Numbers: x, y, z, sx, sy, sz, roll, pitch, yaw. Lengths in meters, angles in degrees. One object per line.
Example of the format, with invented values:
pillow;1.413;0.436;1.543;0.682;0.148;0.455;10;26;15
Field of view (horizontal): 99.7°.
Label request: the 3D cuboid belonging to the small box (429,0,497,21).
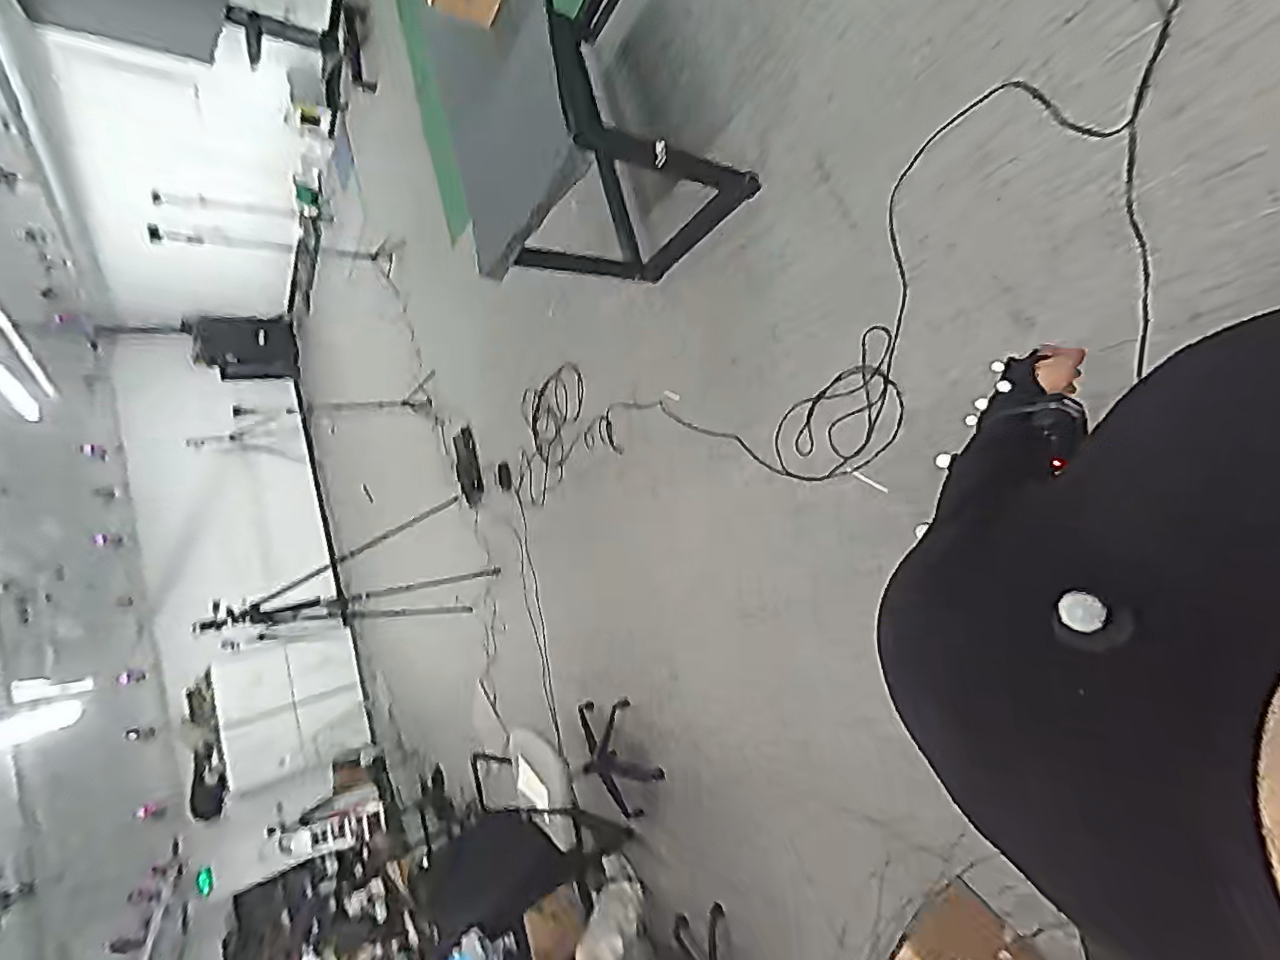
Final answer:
small box;-0.454;-1.359;1.406;0.179;0.176;0.168;-10;91;54
